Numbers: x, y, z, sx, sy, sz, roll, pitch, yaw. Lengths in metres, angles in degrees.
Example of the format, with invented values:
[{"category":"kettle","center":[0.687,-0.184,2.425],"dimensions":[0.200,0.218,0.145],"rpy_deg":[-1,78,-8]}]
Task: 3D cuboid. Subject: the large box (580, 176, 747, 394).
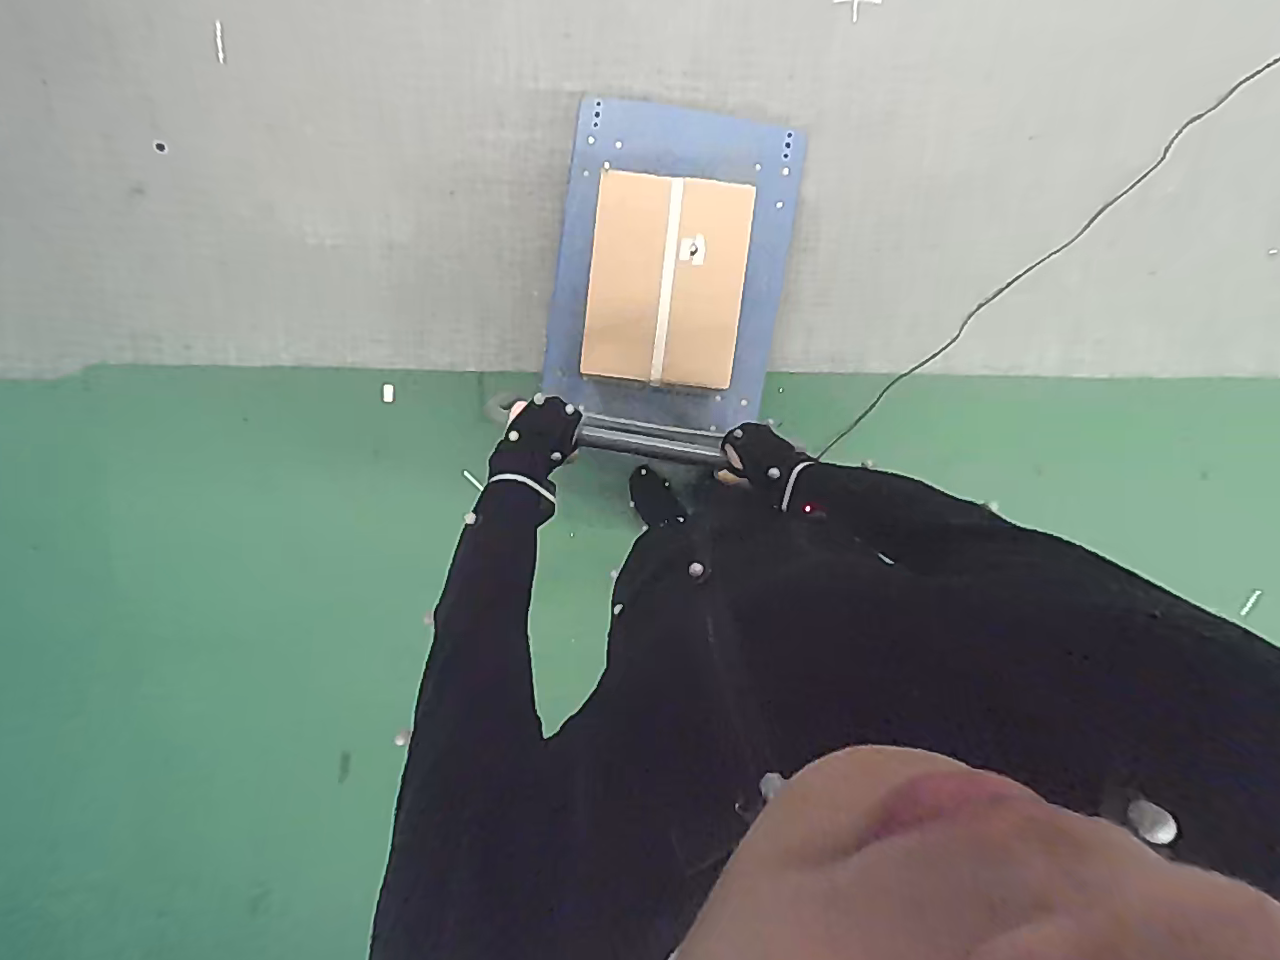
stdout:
[{"category":"large box","center":[0.049,-0.418,1.257],"dimensions":[0.320,0.320,0.408],"rpy_deg":[7,96,0]}]
